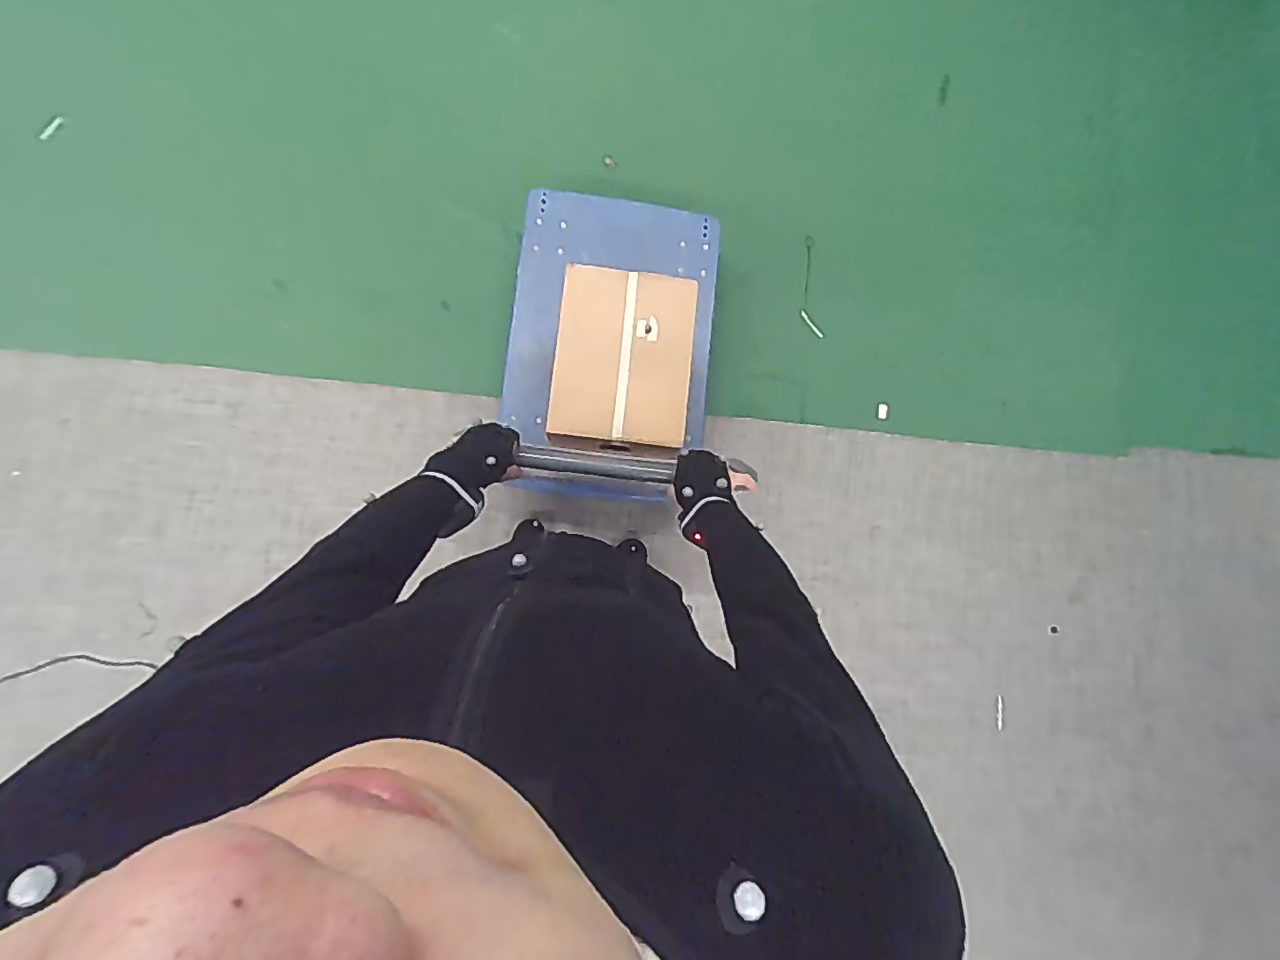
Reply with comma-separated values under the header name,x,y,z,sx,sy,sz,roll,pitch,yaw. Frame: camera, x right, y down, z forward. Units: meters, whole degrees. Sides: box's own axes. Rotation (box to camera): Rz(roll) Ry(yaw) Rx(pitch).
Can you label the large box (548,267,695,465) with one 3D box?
name,x,y,z,sx,sy,sz,roll,pitch,yaw
large box,-0.052,-0.265,1.381,0.320,0.320,0.408,6,82,-6
